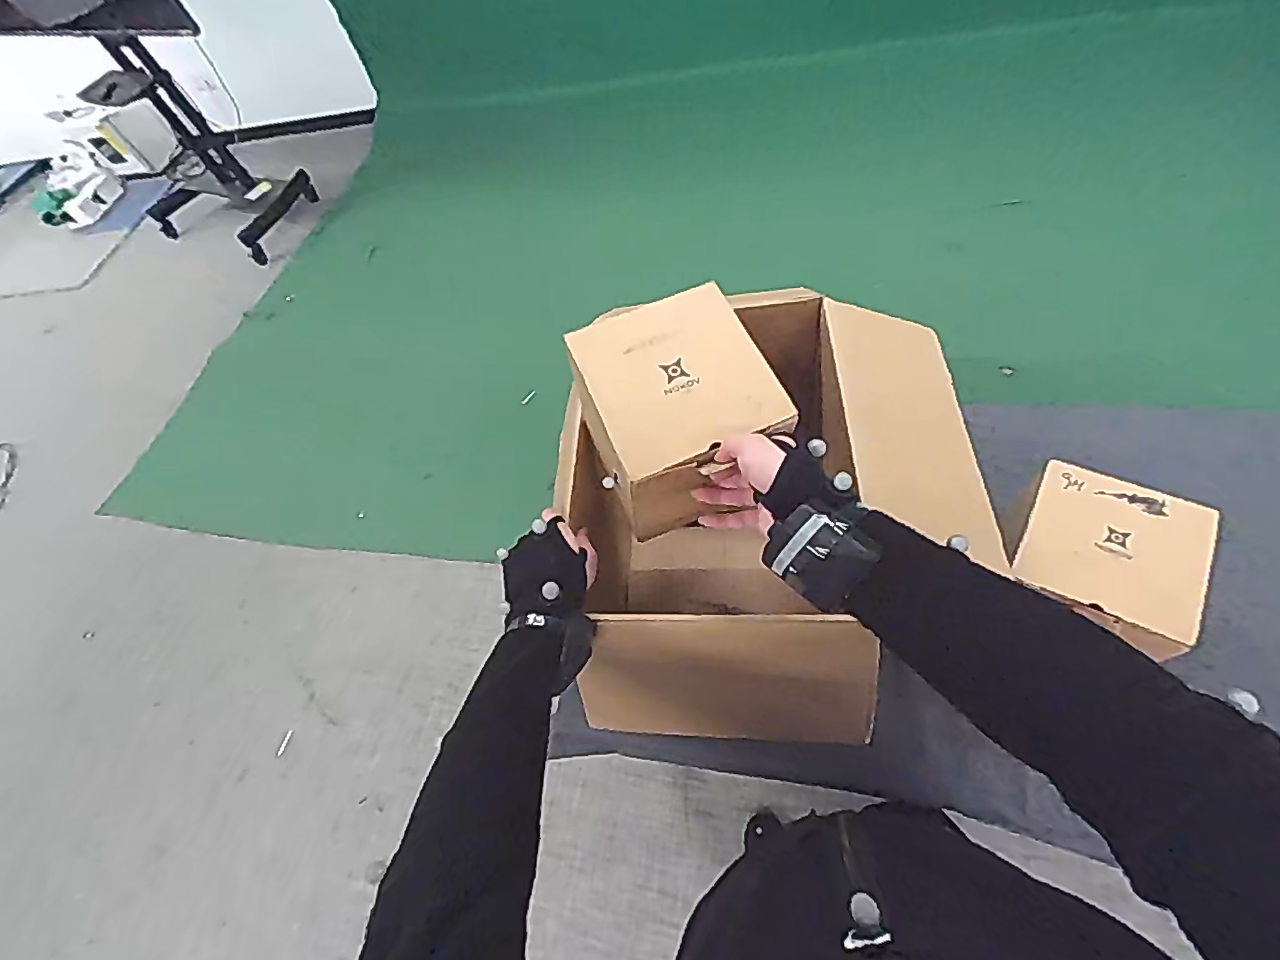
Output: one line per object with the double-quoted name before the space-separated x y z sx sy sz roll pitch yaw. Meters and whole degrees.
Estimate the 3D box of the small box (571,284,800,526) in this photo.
"small box" 0.042 -0.067 0.579 0.168 0.176 0.179 -22 66 -8
